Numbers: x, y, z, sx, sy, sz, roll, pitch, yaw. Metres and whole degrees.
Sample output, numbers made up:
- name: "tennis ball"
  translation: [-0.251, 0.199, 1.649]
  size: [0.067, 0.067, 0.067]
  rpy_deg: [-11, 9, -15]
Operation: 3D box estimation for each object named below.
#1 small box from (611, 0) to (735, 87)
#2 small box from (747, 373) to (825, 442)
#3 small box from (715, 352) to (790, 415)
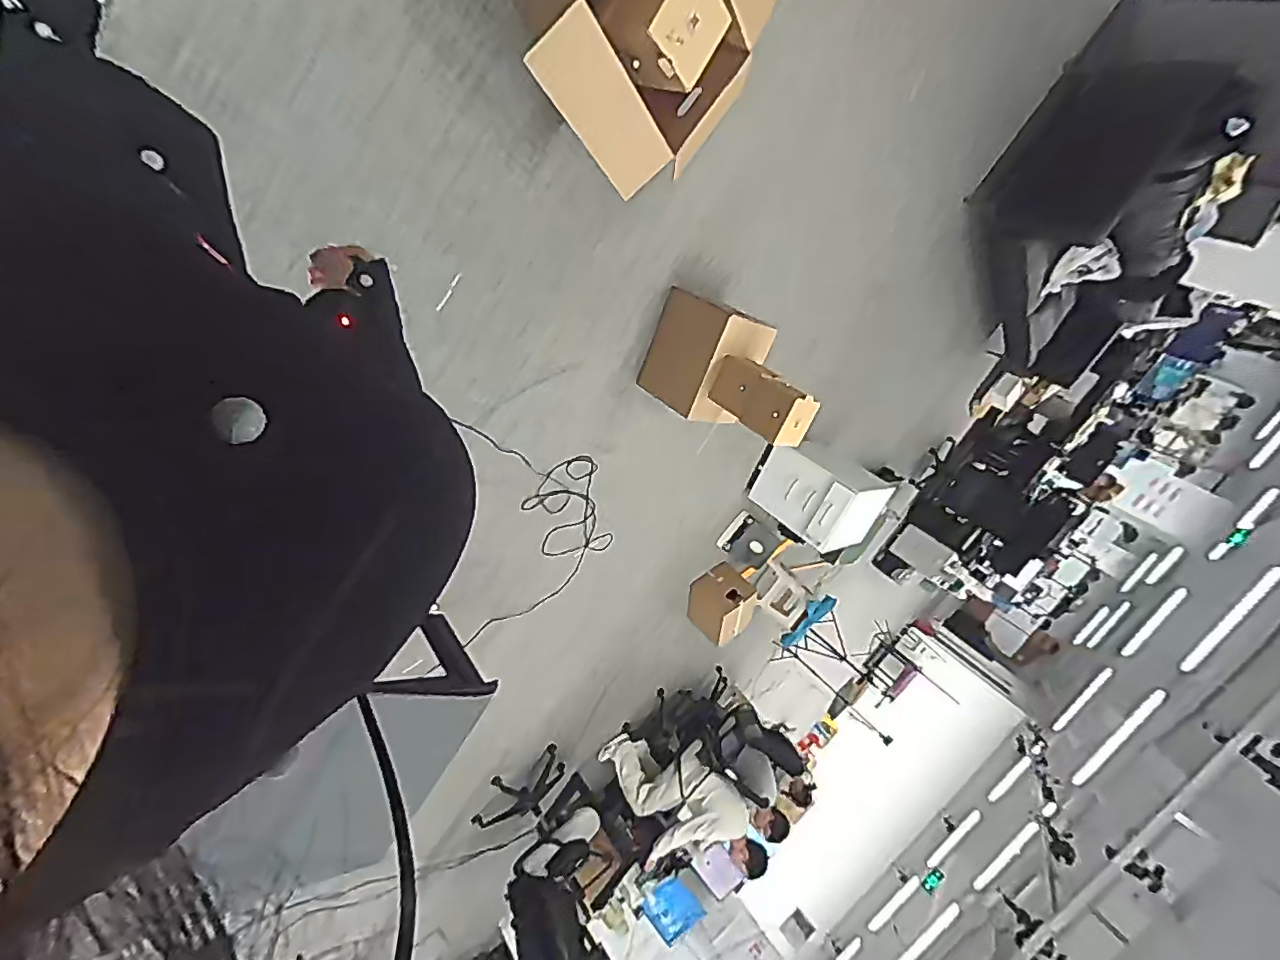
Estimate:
- name: "small box"
  translation: [0.068, -1.015, 1.189]
  size: [0.168, 0.176, 0.179]
  rpy_deg: [21, 106, -50]
- name: "small box"
  translation: [0.494, -0.249, 1.864]
  size: [0.168, 0.176, 0.179]
  rpy_deg: [-1, 123, -44]
- name: "small box"
  translation: [0.400, -0.347, 1.955]
  size: [0.168, 0.176, 0.179]
  rpy_deg: [-2, 124, -44]
